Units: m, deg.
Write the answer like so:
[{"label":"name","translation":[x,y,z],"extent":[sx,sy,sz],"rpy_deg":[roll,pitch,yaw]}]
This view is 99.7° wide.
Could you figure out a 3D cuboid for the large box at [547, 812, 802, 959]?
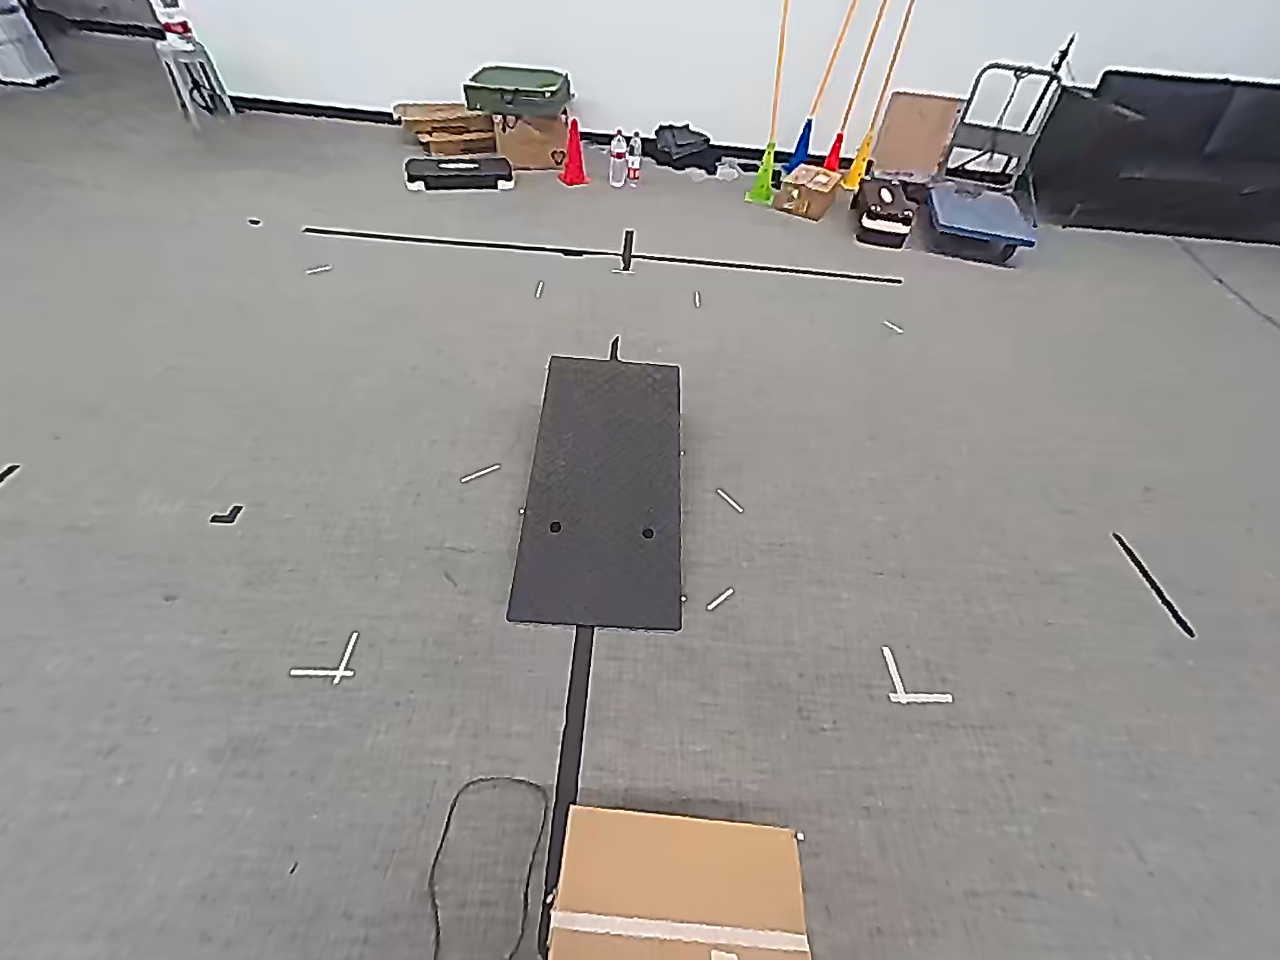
[{"label":"large box","translation":[0.042,0.819,0.960],"extent":[0.408,0.320,0.320],"rpy_deg":[7,48,-2]}]

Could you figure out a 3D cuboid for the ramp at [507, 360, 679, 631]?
[{"label":"ramp","translation":[-0.115,-0.008,1.782],"extent":[0.509,0.206,0.991],"rpy_deg":[4,48,-5]}]
